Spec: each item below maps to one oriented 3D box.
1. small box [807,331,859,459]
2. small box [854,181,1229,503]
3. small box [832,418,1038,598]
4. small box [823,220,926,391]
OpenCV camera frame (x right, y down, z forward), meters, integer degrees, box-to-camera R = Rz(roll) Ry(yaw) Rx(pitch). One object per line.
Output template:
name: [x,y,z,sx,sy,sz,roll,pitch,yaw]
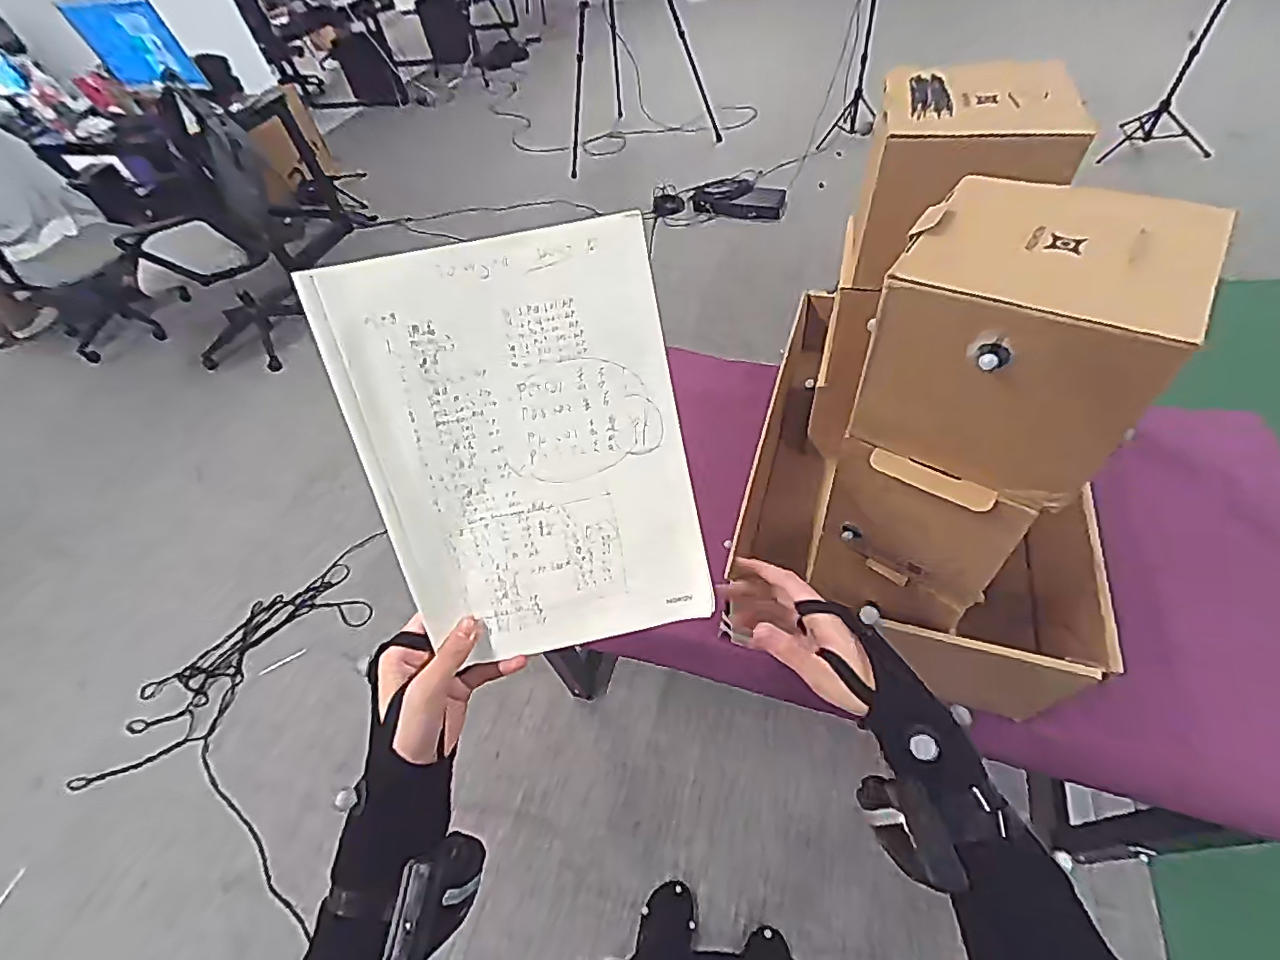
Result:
small box: [0.370,-0.136,0.866,0.168,0.176,0.179,11,56,17]
small box: [0.295,-0.109,0.433,0.179,0.176,0.168,27,60,28]
small box: [0.316,-0.010,0.561,0.168,0.176,0.179,29,60,30]
small box: [0.353,-0.230,0.736,0.179,0.176,0.168,9,55,15]
